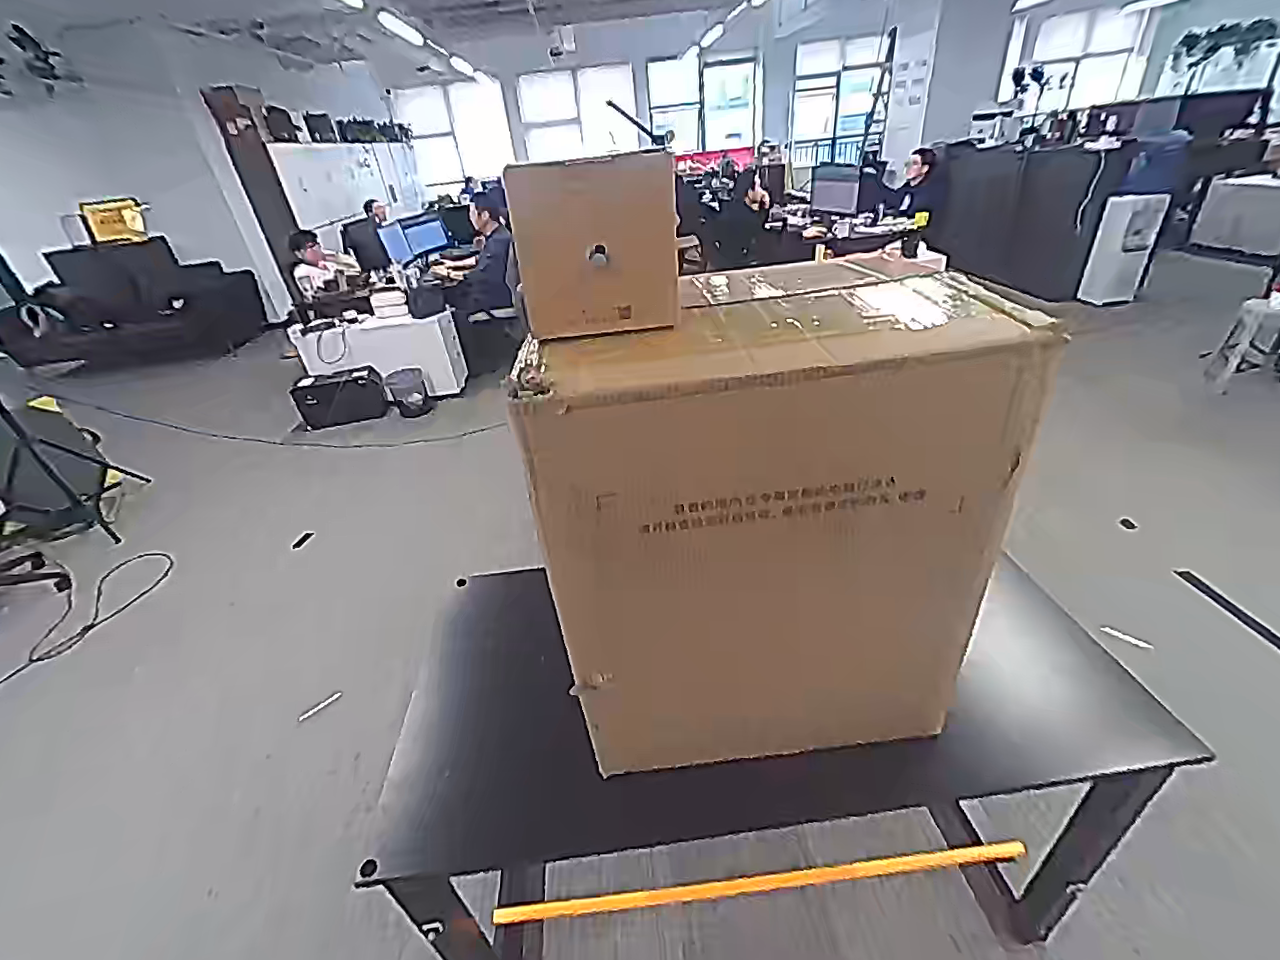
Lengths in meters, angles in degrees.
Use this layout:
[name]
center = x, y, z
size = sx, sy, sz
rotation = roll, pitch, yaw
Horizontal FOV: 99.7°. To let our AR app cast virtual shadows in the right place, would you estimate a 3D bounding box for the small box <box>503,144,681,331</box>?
[small box]
center = -0.048, -0.275, 0.618
size = 0.168, 0.176, 0.179
rotation = -7, 31, -2
